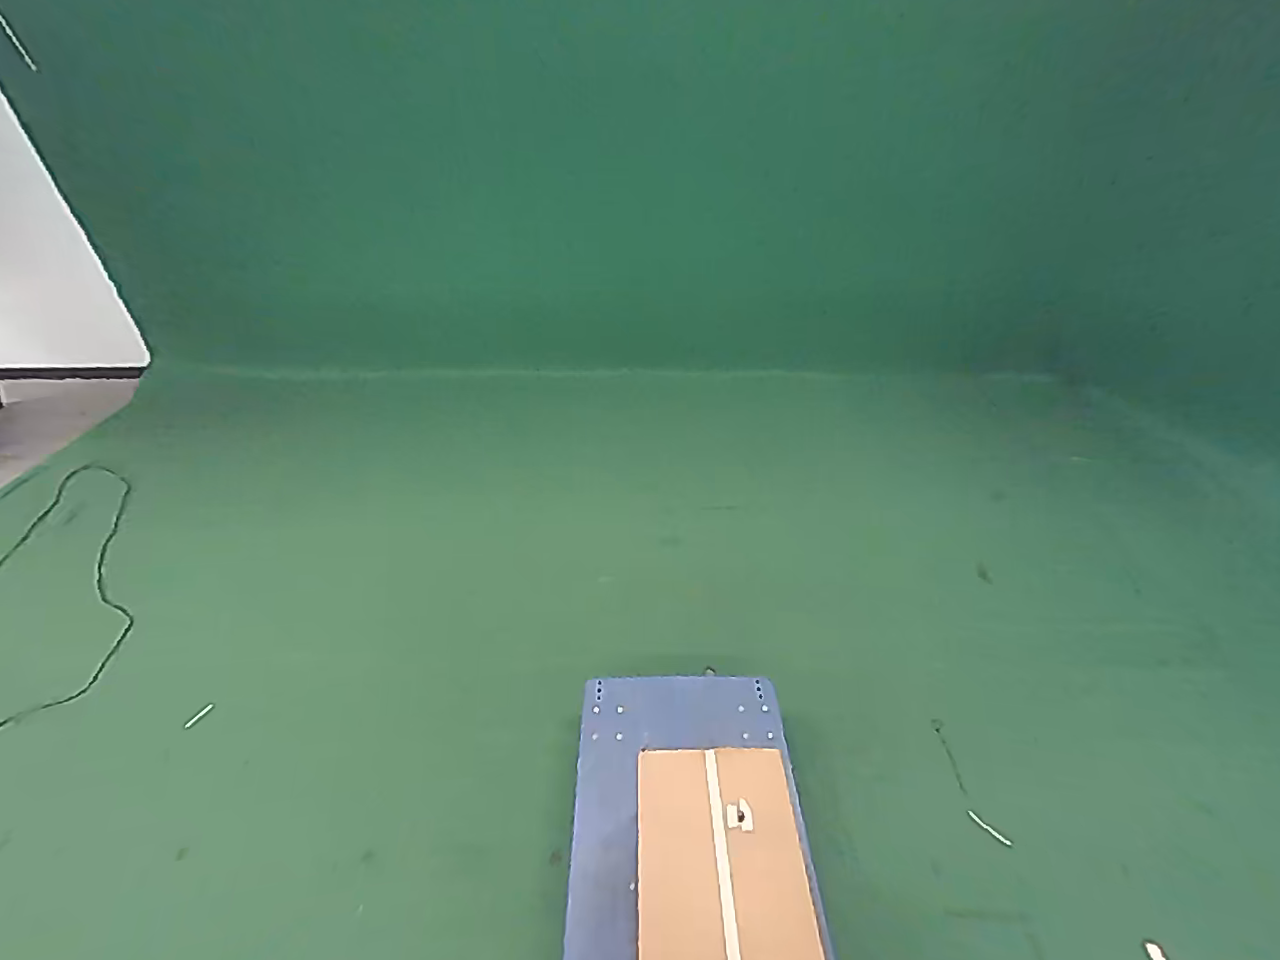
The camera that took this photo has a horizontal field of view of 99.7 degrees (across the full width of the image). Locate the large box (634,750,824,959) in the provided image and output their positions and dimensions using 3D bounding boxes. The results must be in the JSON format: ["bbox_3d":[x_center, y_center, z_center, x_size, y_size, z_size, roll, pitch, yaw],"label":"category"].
[{"bbox_3d":[0.148,0.835,1.111,0.320,0.320,0.408,0,36,-1],"label":"large box"}]
